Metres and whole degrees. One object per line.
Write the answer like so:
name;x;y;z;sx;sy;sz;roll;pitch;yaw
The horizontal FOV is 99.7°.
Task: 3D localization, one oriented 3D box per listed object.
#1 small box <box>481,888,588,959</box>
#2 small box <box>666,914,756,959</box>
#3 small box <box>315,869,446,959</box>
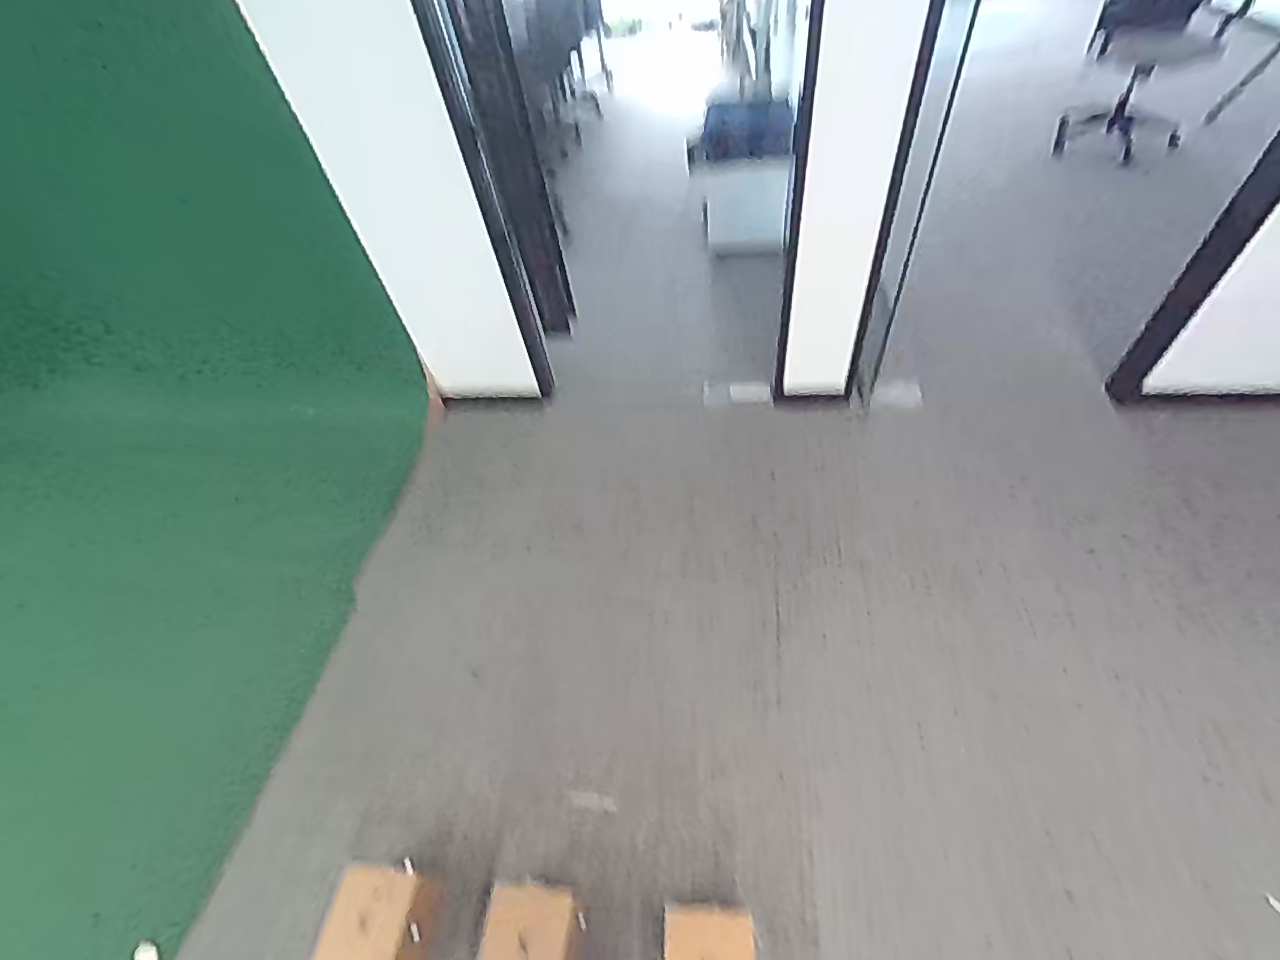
small box;-0.208;0.941;1.079;0.168;0.176;0.179;0;50;10
small box;0.137;0.942;1.022;0.168;0.176;0.179;-2;48;8
small box;-0.532;0.939;1.131;0.168;0.176;0.179;1;49;9
